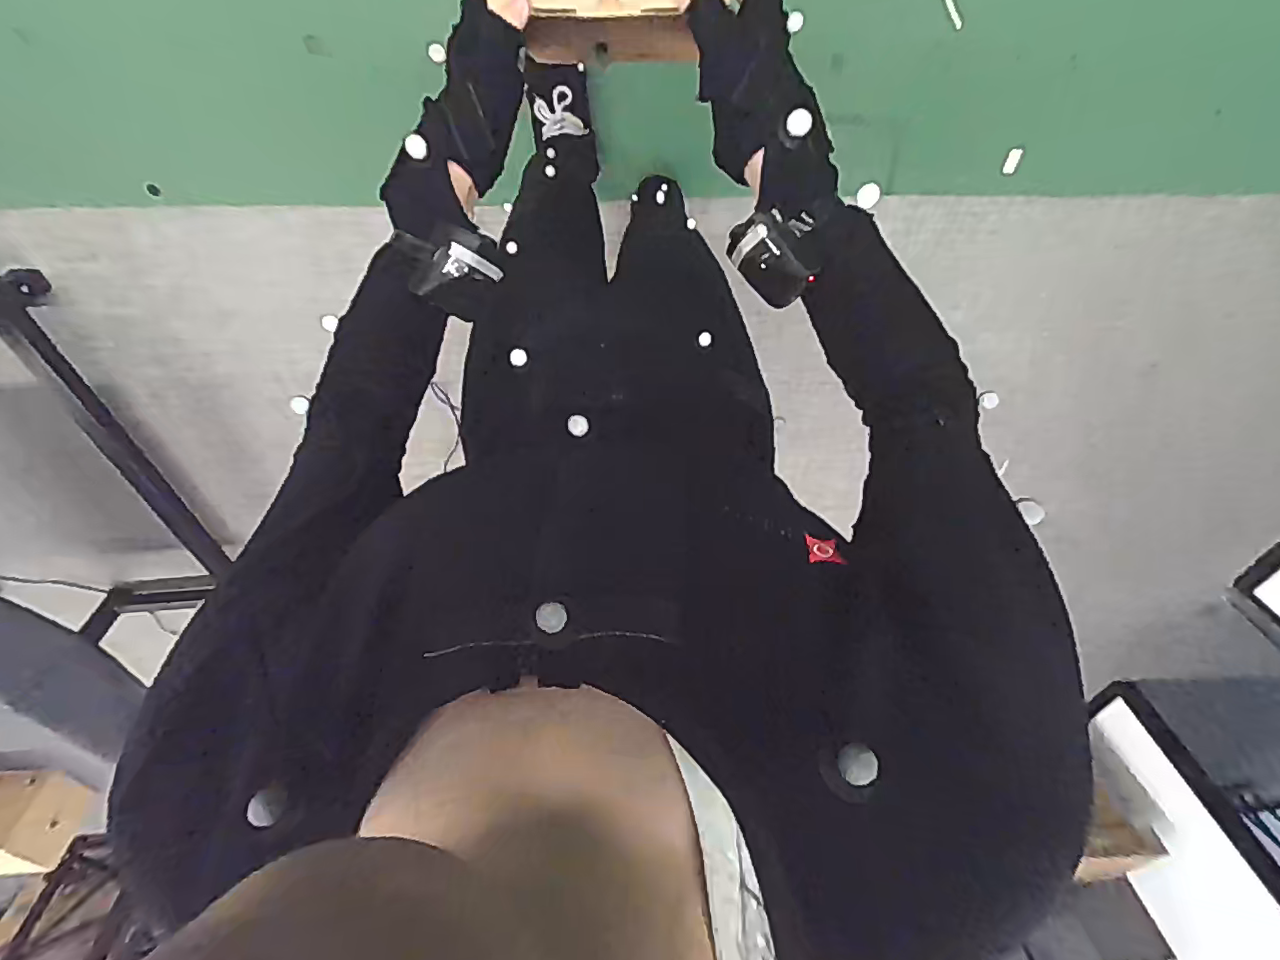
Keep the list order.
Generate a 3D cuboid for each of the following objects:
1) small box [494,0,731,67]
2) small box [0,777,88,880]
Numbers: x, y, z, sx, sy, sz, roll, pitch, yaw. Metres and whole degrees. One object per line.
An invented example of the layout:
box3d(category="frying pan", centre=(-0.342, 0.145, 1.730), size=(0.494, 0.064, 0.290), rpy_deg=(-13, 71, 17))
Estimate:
box3d(category="small box", centre=(-0.019, -0.433, 0.402), size=(0.168, 0.176, 0.179), rpy_deg=(0, 120, 0))
box3d(category="small box", centre=(-1.470, 0.807, 1.256), size=(0.168, 0.176, 0.179), rpy_deg=(-1, 132, -5))
